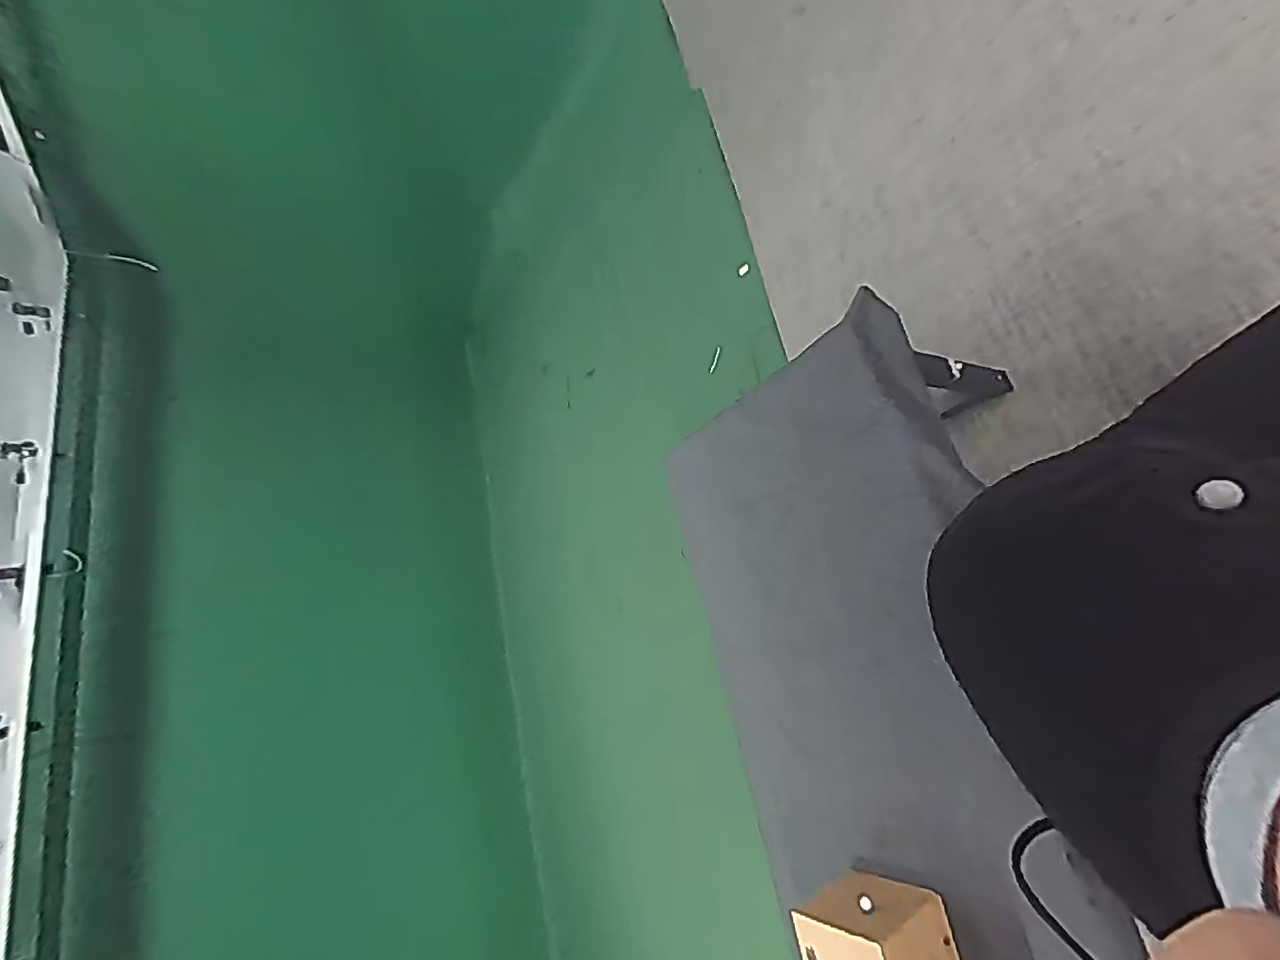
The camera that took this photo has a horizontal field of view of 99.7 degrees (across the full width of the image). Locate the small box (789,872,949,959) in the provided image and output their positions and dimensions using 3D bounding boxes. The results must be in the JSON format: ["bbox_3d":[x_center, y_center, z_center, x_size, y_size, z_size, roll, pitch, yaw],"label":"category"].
[{"bbox_3d":[0.377,0.767,0.866,0.179,0.176,0.168,-31,65,49],"label":"small box"}]
